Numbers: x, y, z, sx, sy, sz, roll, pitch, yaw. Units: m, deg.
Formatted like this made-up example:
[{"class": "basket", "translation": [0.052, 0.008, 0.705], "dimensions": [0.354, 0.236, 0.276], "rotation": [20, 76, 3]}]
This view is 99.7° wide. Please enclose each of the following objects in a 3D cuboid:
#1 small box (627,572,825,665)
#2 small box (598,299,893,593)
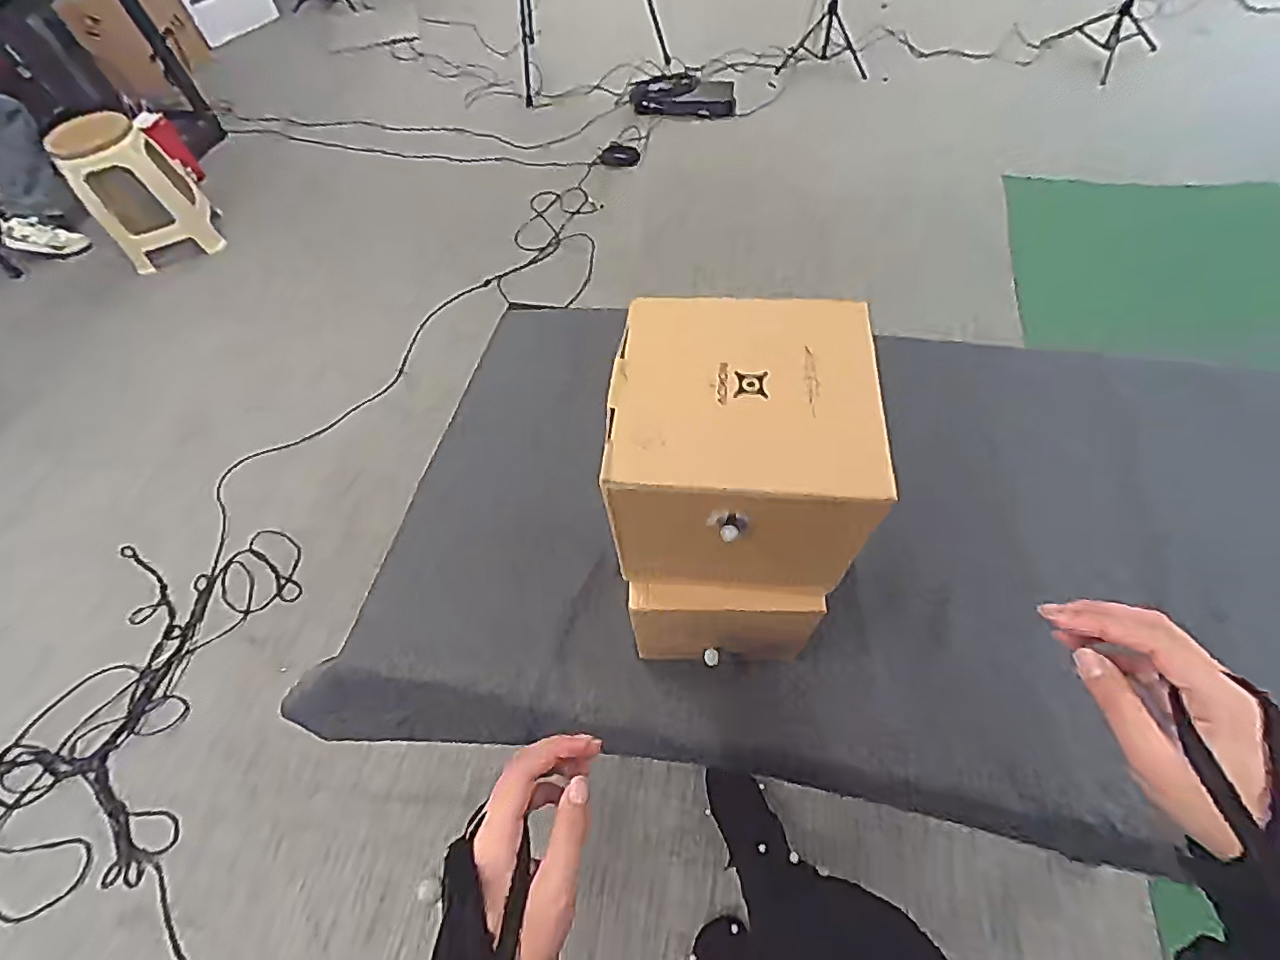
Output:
[{"class": "small box", "translation": [0.078, 0.079, 0.557], "dimensions": [0.168, 0.176, 0.179], "rotation": [0, 59, 5]}, {"class": "small box", "translation": [0.074, -0.019, 0.426], "dimensions": [0.179, 0.176, 0.168], "rotation": [4, 60, 6]}]
